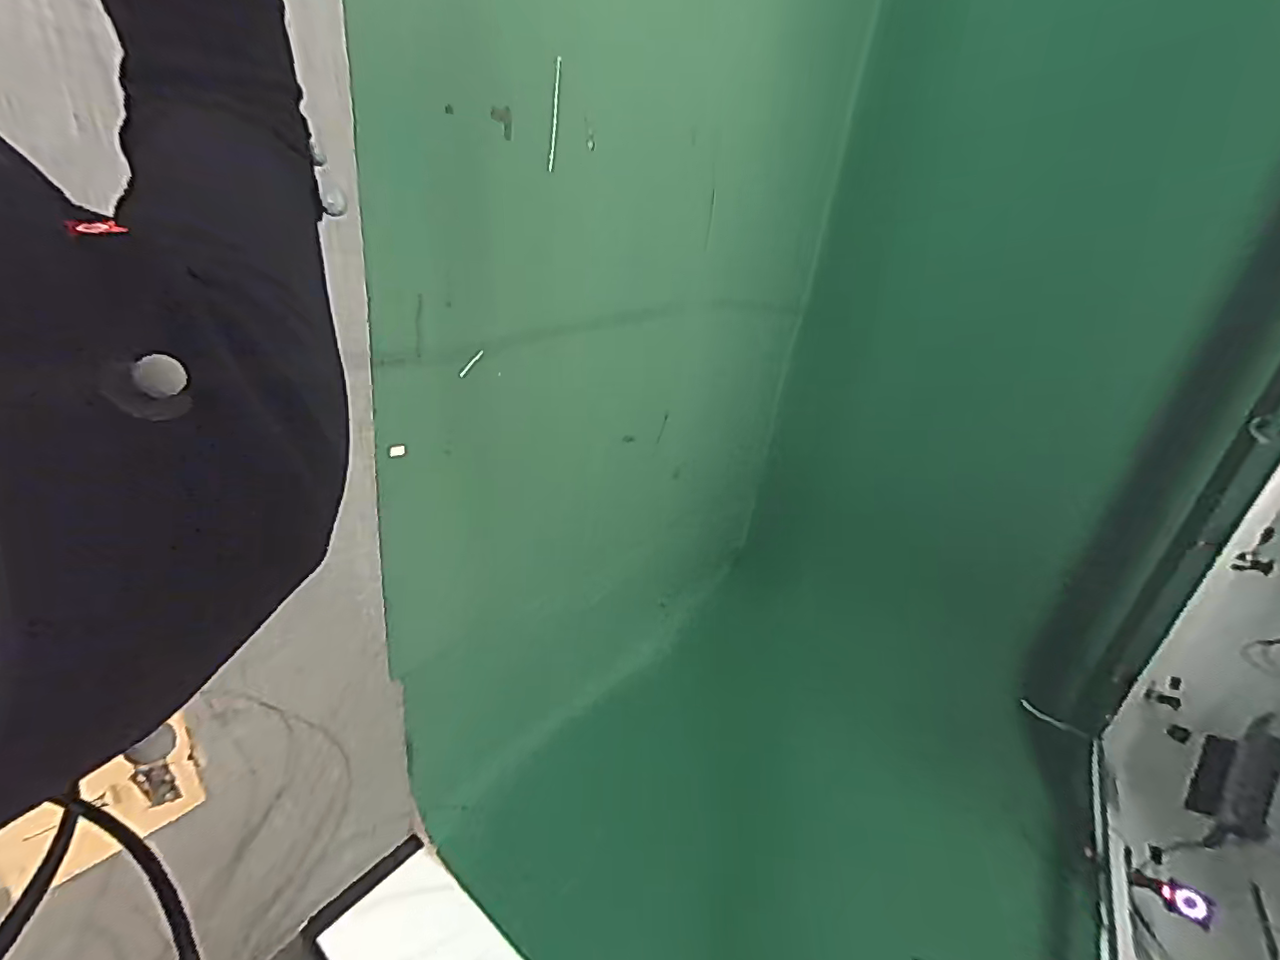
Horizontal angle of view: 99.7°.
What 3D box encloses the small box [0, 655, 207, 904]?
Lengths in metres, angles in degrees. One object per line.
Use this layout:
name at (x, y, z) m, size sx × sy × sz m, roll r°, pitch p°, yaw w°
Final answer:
small box at (-0.689, 0.353, 0.677) m, size 0.179 × 0.176 × 0.168 m, roll -20°, pitch 123°, yaw -49°
